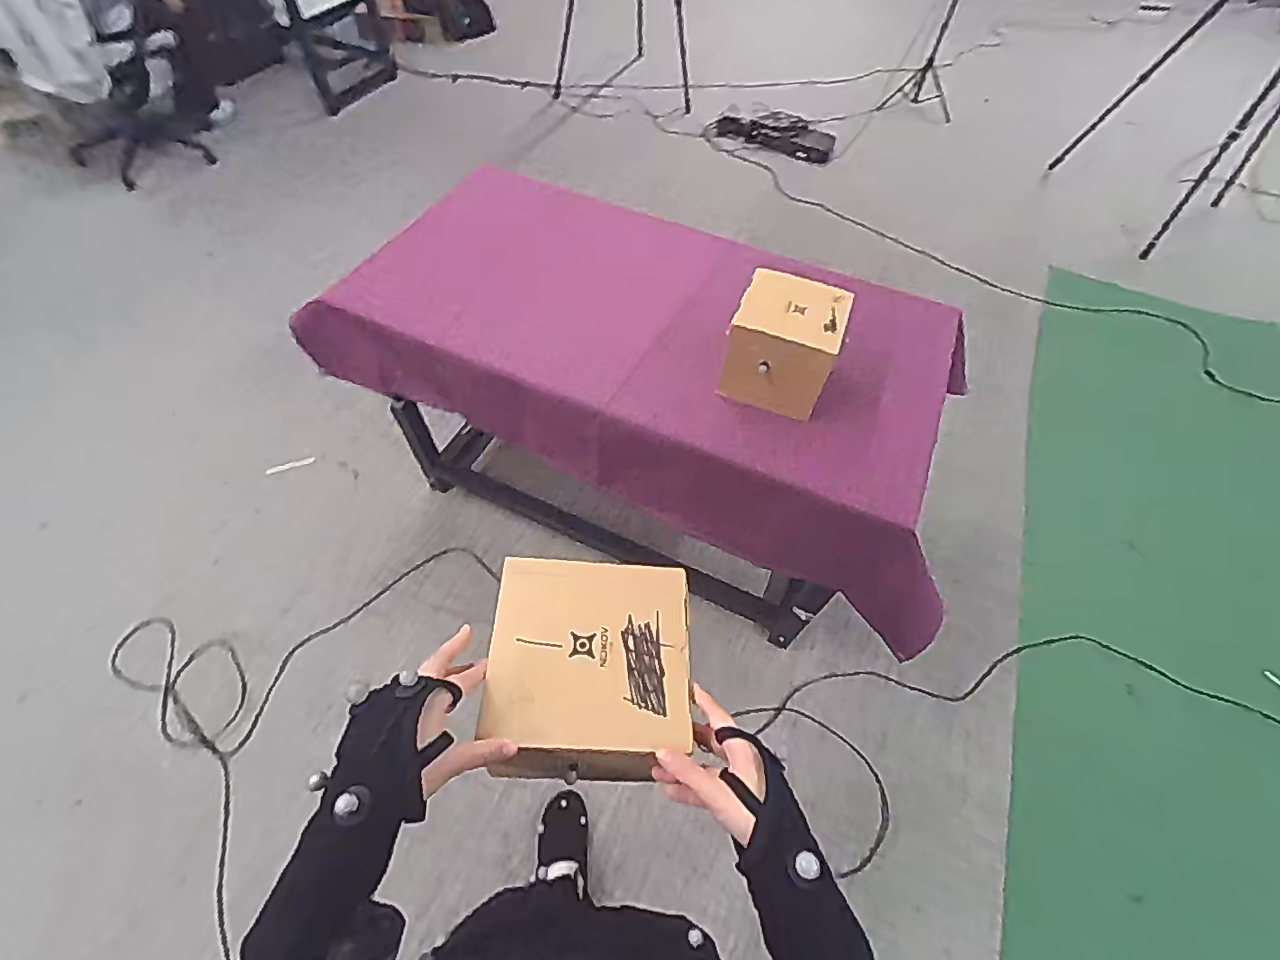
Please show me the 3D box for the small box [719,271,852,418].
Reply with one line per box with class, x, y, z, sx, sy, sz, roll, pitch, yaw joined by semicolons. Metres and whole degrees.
small box;0.252;-0.237;0.966;0.179;0.176;0.168;20;57;11
